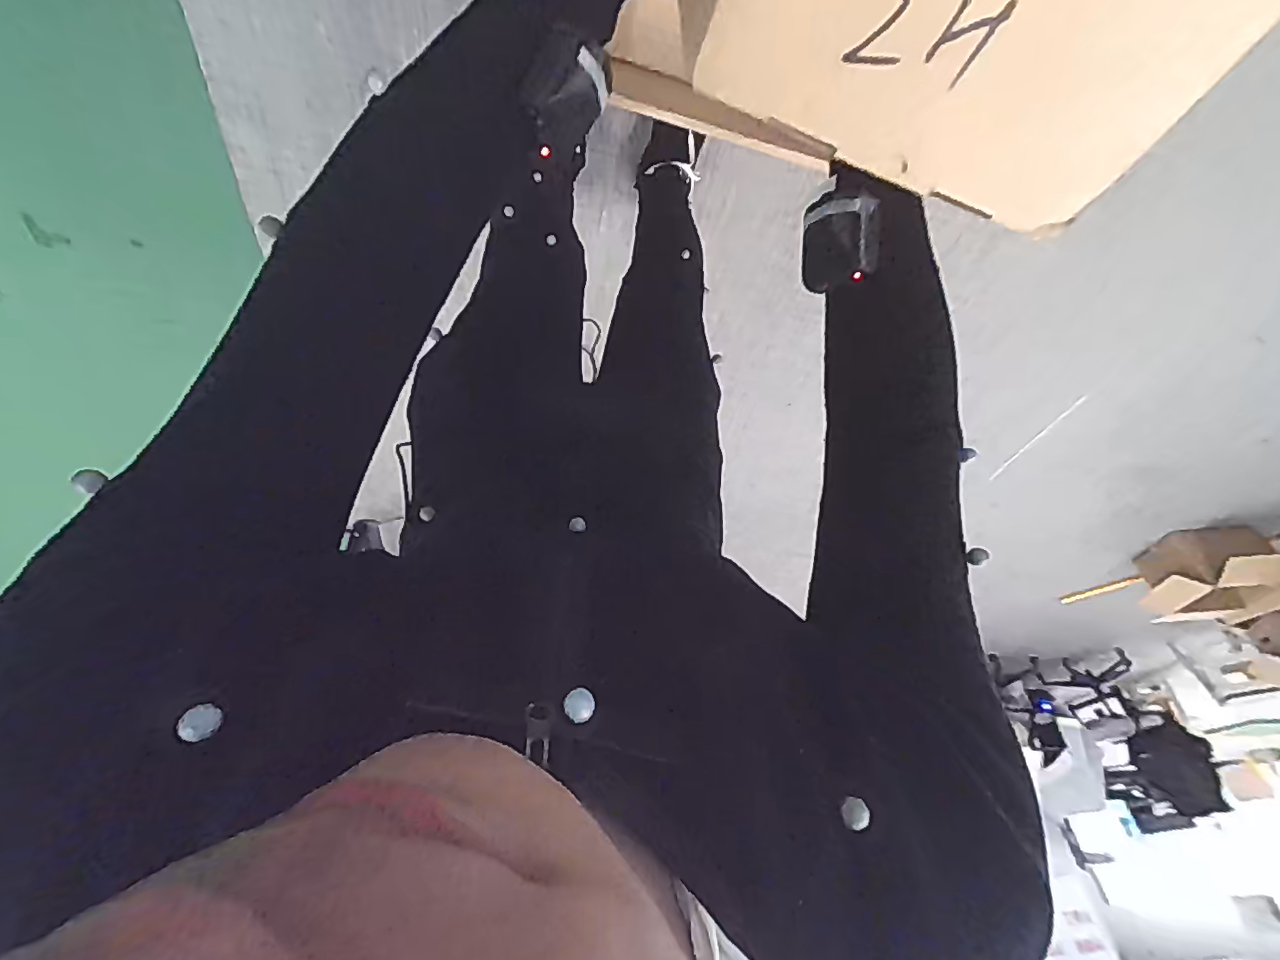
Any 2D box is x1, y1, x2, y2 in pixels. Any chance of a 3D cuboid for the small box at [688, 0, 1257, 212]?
[{"bbox_3d":[0.119,-0.239,0.184,0.168,0.176,0.179,13,142,-14],"label":"small box"}]
